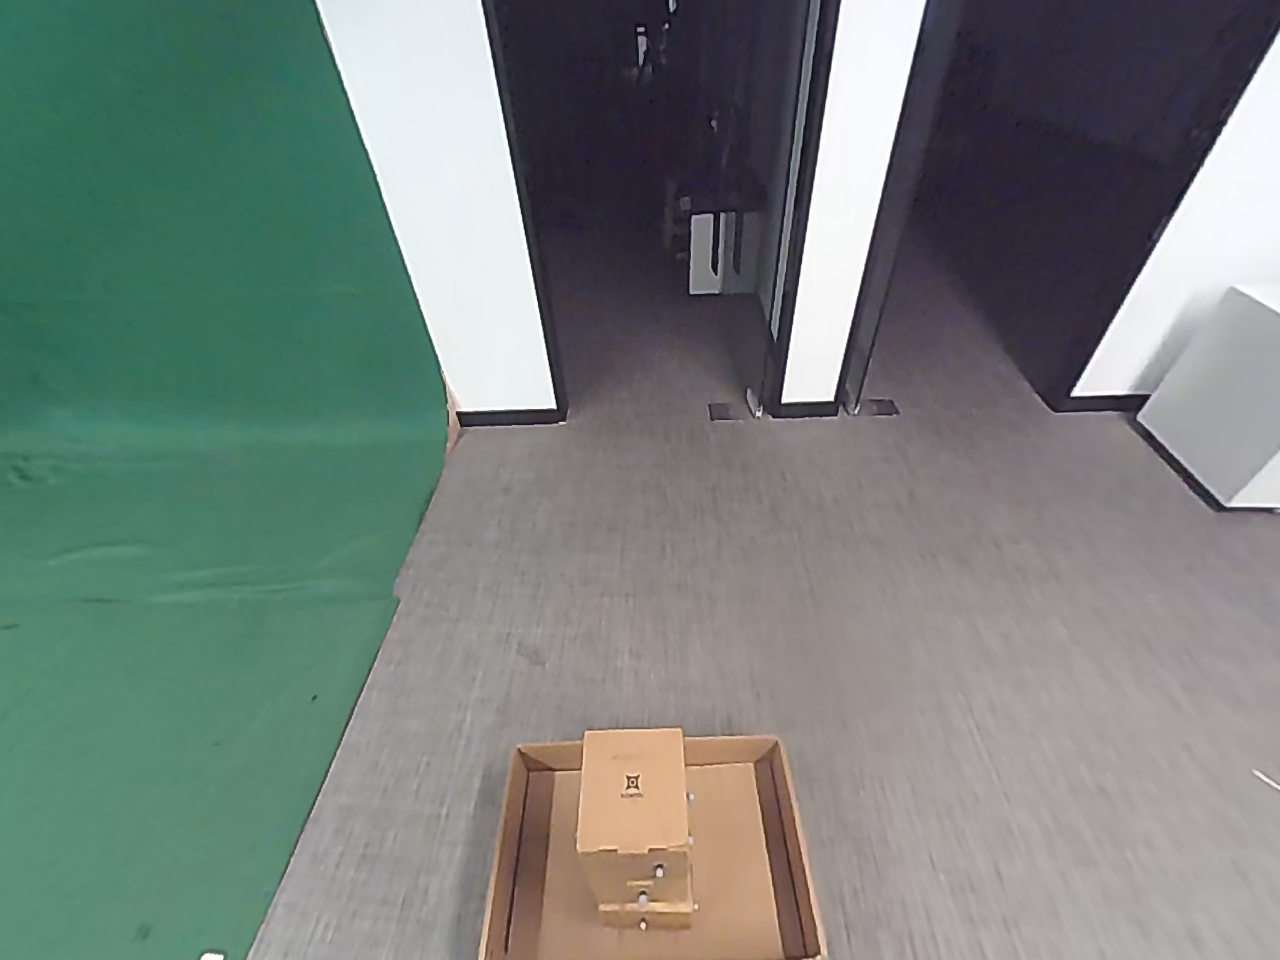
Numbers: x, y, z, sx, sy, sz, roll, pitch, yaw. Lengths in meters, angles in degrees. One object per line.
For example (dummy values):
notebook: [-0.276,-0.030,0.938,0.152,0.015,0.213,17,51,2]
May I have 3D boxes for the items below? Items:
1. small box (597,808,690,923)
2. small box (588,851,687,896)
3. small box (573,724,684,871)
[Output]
small box: [0.013,0.794,1.118,0.179,0.176,0.168,-1,41,4]
small box: [-0.002,0.665,1.024,0.168,0.176,0.179,-5,41,1]
small box: [-0.013,0.531,0.901,0.168,0.176,0.179,-2,41,1]
